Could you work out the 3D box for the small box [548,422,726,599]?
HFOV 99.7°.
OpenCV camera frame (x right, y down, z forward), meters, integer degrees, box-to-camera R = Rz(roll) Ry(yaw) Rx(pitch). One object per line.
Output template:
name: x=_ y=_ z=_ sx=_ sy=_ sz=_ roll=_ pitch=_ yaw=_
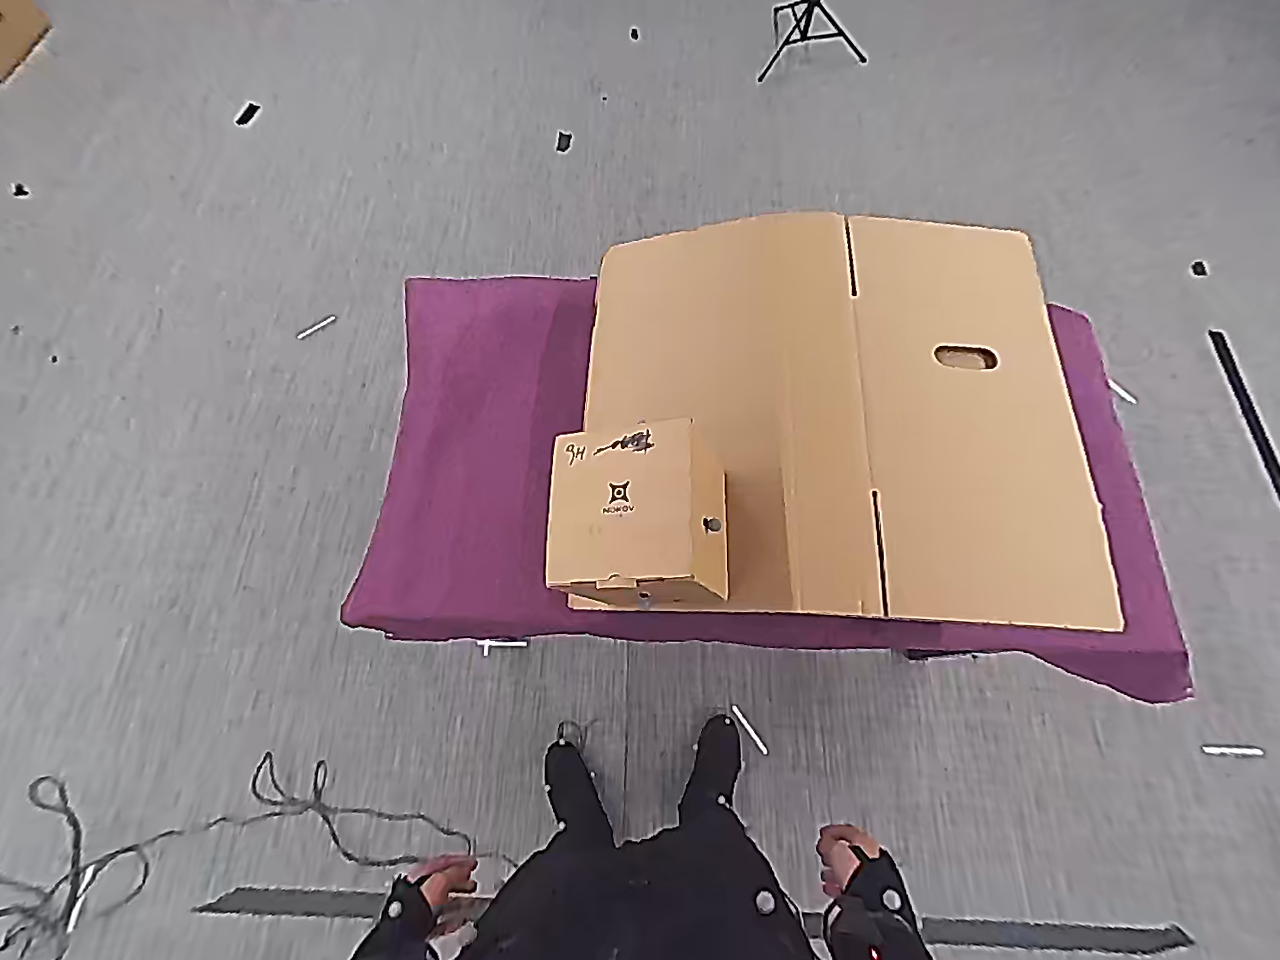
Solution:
small box: x=0.007 y=0.050 z=0.651 sx=0.168 sy=0.176 sz=0.179 roll=-6 pitch=70 yaw=19
